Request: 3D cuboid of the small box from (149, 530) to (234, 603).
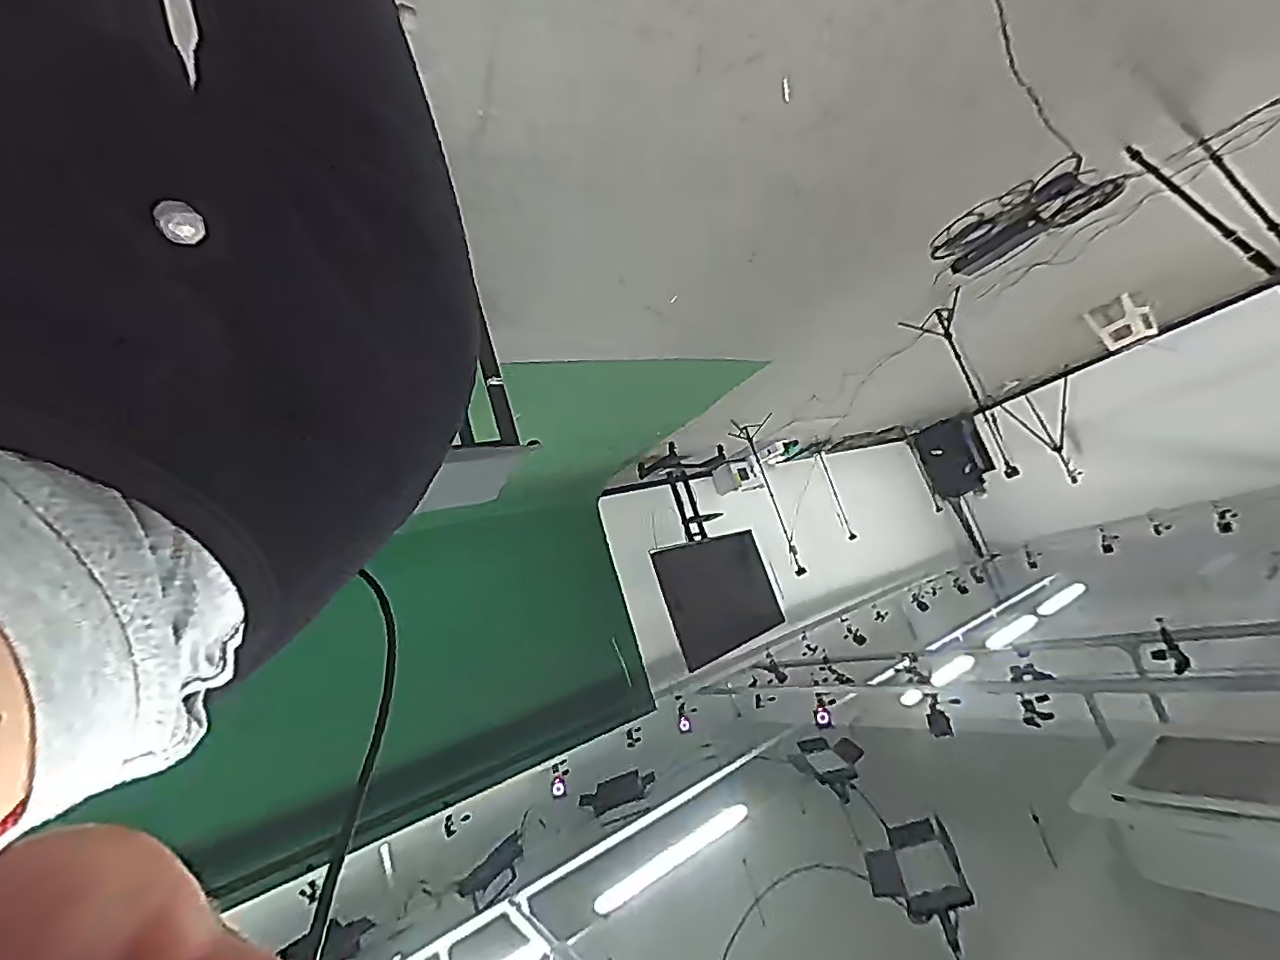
[{"bbox_3d":[-1.379,0.263,1.669,0.179,0.176,0.168,-10,165,-37],"label":"small box"}]
